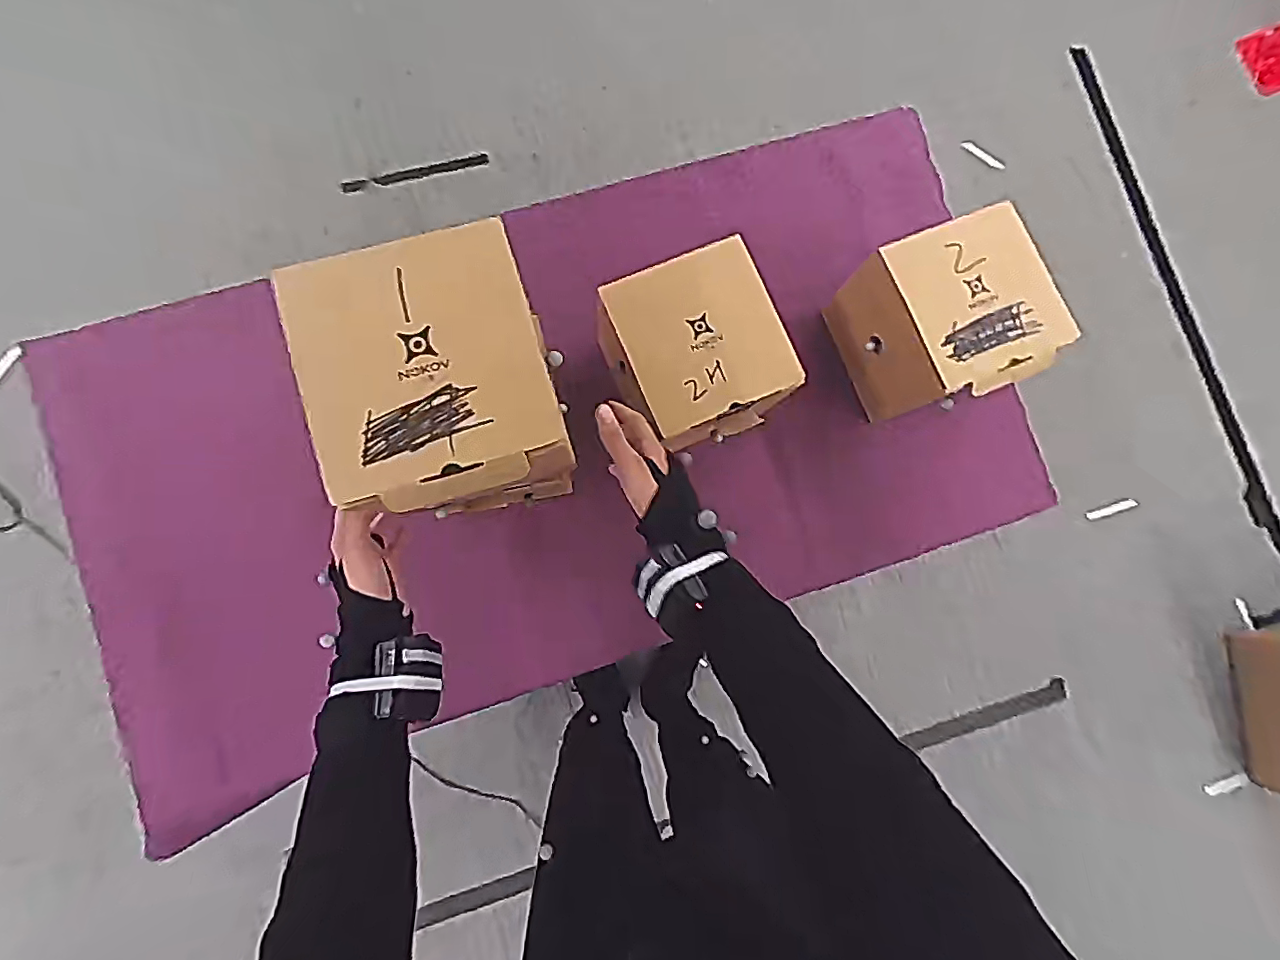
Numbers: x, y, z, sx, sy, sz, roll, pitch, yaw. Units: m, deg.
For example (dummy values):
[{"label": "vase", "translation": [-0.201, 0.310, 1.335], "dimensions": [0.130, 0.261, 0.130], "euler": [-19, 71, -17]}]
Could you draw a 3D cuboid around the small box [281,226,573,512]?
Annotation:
[{"label": "small box", "translation": [-0.158, -0.076, 0.462], "dimensions": [0.168, 0.176, 0.179], "euler": [-16, 86, -6]}]

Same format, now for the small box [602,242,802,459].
[{"label": "small box", "translation": [0.060, -0.140, 0.646], "dimensions": [0.168, 0.176, 0.179], "euler": [-22, 87, -5]}]

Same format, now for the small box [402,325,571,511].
[{"label": "small box", "translation": [-0.175, -0.060, 0.624], "dimensions": [0.168, 0.176, 0.179], "euler": [-9, 85, -5]}]
